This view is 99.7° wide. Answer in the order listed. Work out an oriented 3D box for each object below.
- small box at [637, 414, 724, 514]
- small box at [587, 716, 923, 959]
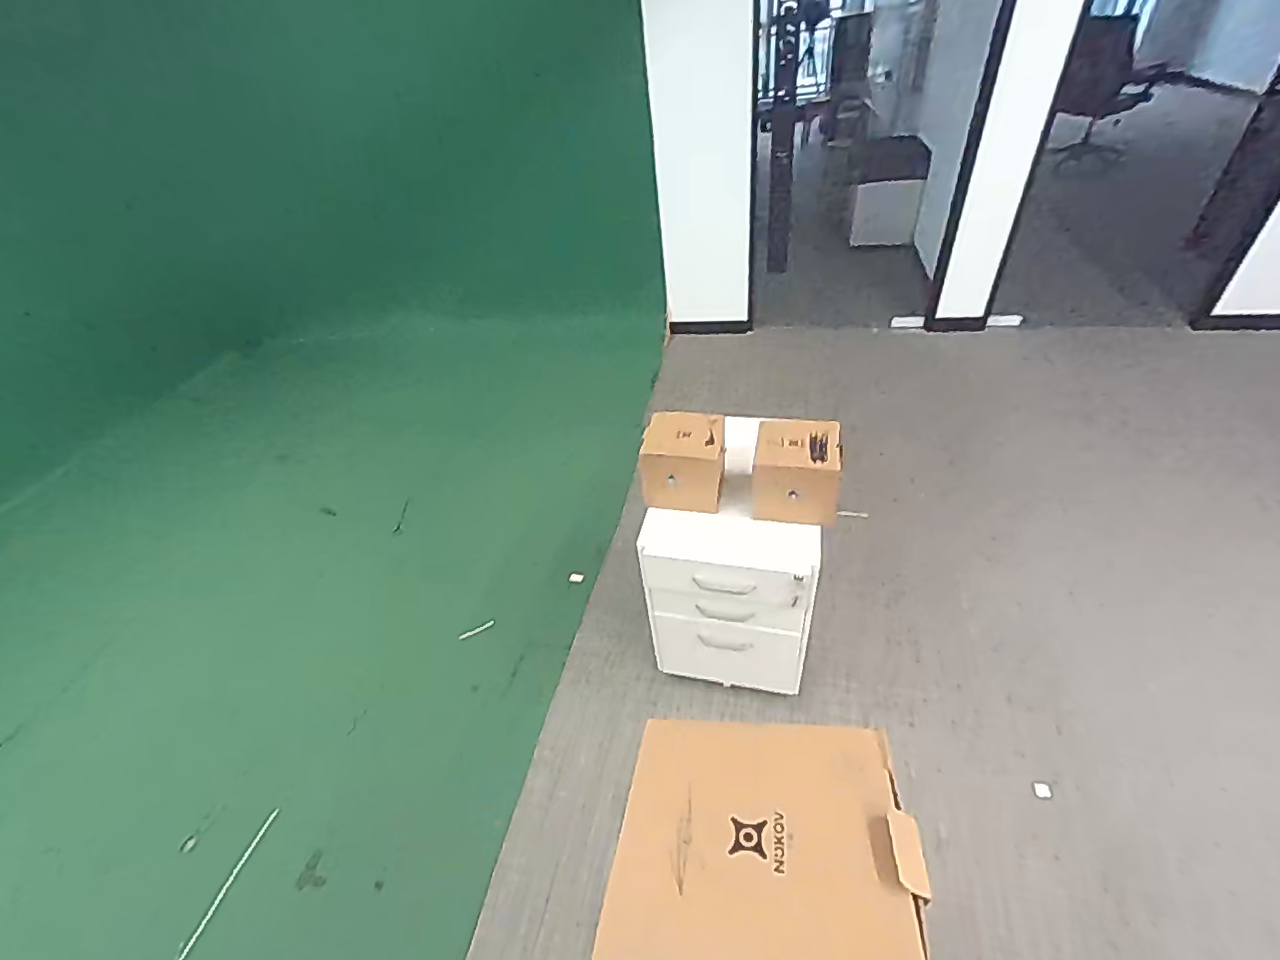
[{"bbox_3d":[0.101,-0.037,1.277,0.179,0.176,0.168,5,43,13],"label":"small box"},{"bbox_3d":[0.086,0.292,0.373,0.179,0.176,0.168,-6,26,17],"label":"small box"}]
